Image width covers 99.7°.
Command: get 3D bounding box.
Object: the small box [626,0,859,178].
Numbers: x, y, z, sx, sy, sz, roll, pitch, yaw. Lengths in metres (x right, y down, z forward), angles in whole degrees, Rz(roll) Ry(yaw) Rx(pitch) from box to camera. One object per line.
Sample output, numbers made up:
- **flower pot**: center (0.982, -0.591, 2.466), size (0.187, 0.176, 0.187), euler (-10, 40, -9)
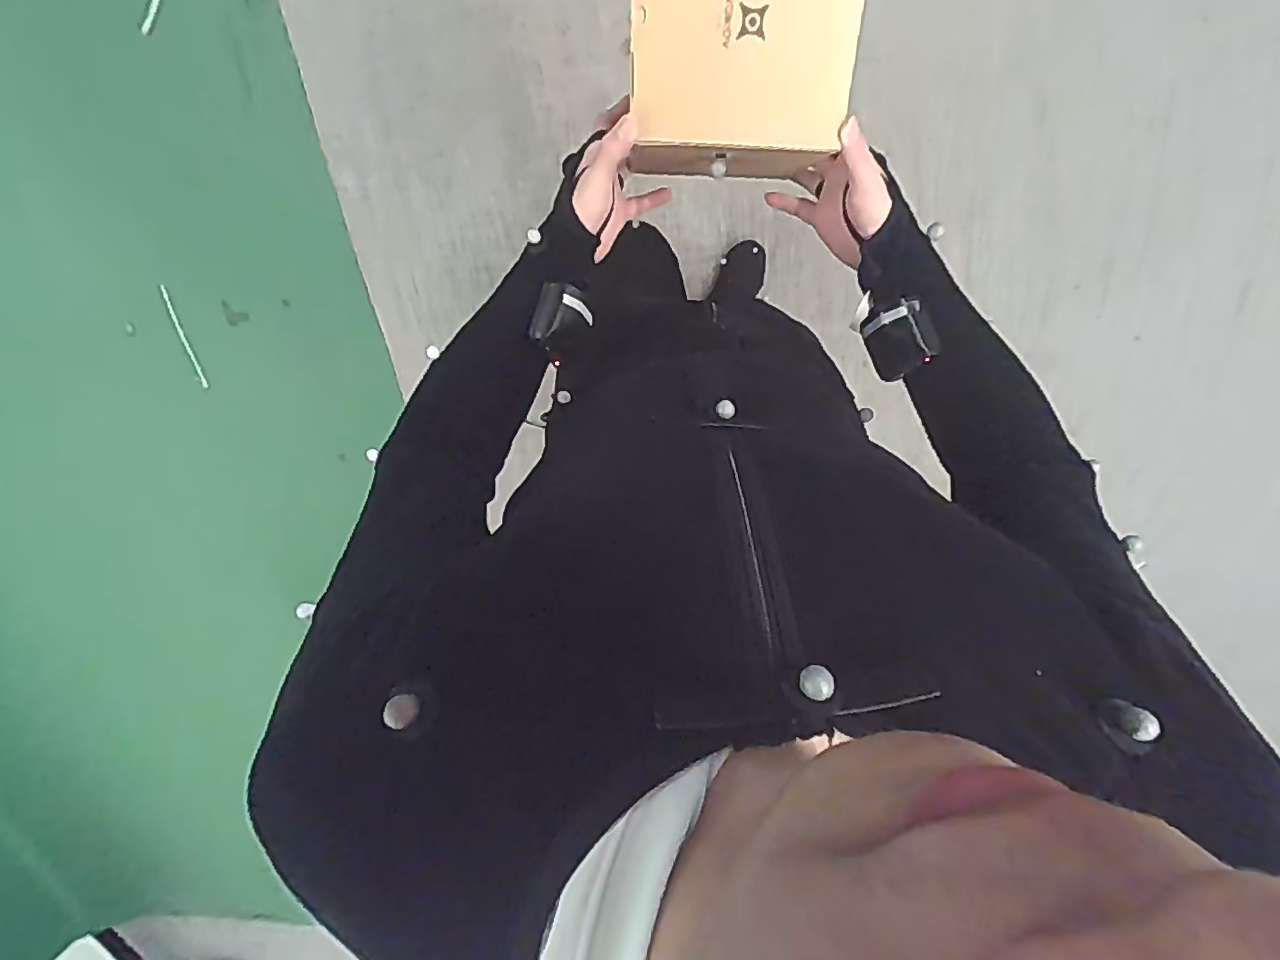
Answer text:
- **small box**: center (0.080, -0.380, 0.490), size (0.179, 0.176, 0.168), euler (3, 113, 0)
